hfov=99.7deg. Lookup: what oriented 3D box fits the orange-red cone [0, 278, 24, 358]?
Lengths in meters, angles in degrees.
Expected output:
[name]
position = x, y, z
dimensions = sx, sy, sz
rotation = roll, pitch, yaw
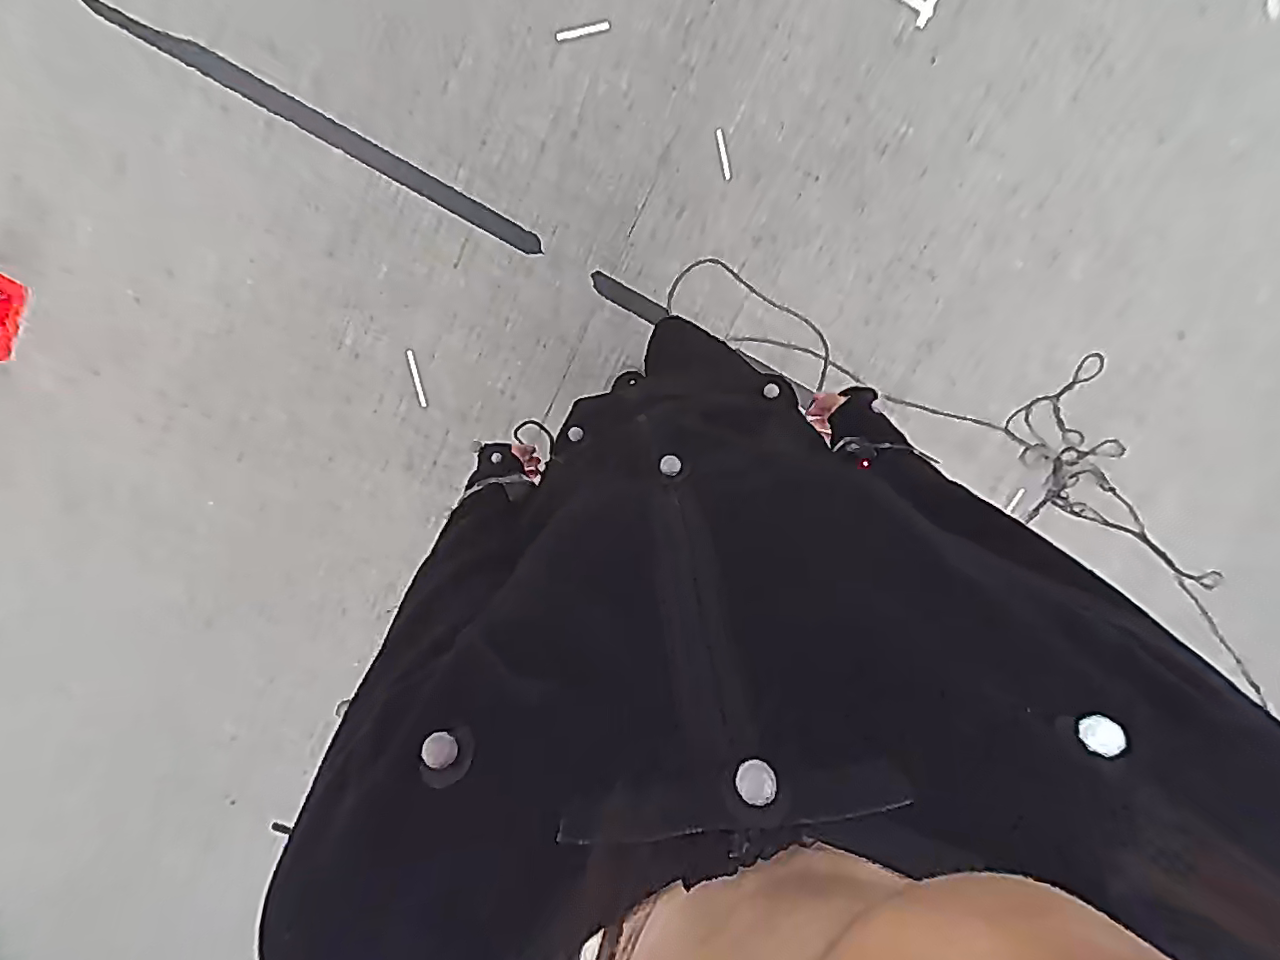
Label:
[orange-red cone]
position = -1.507, -0.350, 1.050
dimensions = 0.199, 0.360, 0.198
rotation = 29, 100, -10
